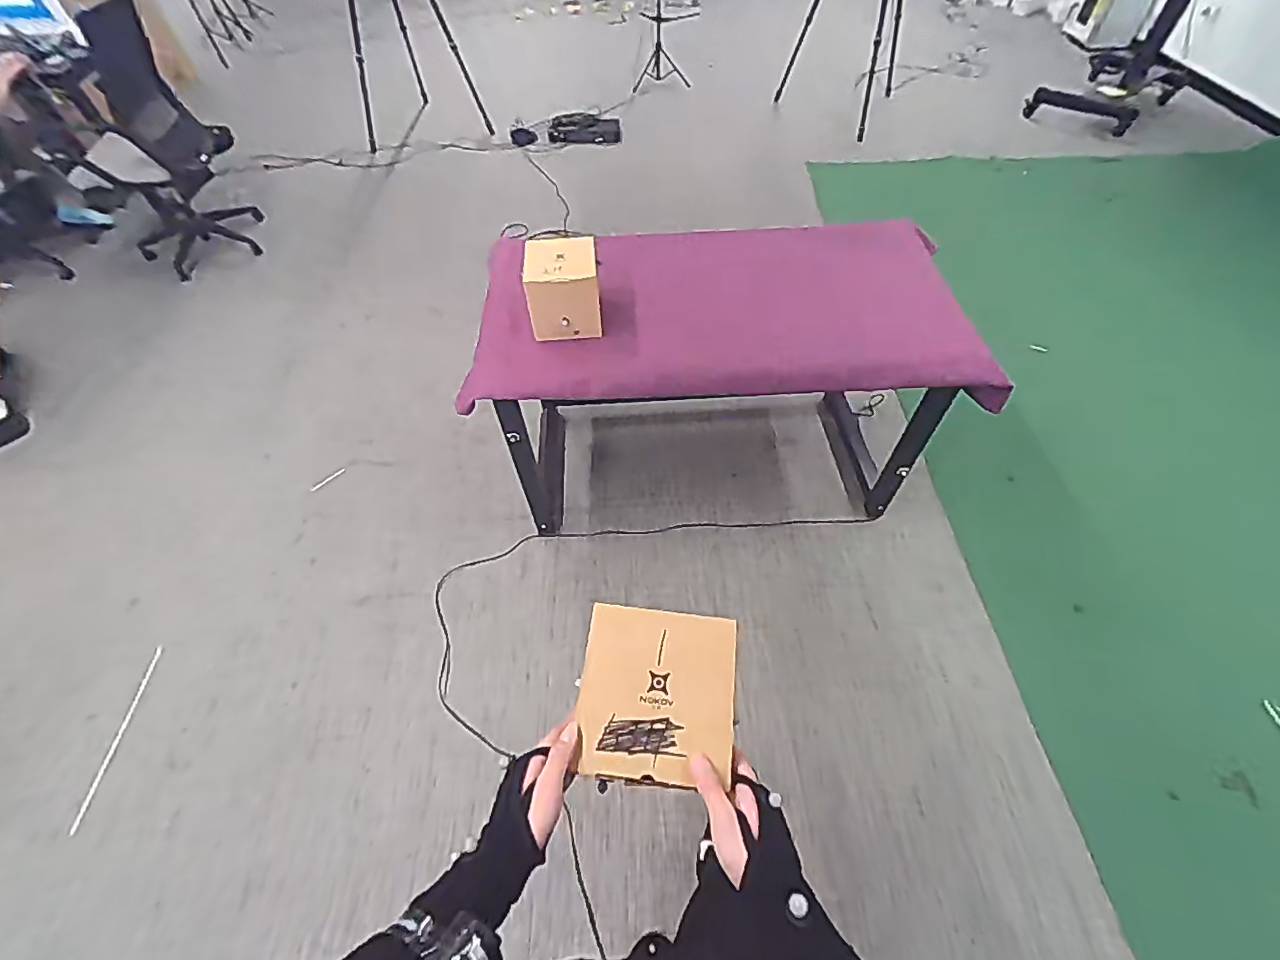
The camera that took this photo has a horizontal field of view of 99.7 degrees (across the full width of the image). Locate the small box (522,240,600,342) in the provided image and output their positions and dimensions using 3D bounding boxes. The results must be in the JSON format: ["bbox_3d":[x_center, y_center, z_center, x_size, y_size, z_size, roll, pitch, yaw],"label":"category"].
[{"bbox_3d":[-0.188,-0.460,1.322,0.168,0.176,0.179,-5,54,-1],"label":"small box"}]

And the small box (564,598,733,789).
[{"bbox_3d":[0.015,0.259,0.644,0.168,0.176,0.179,6,59,3],"label":"small box"}]
